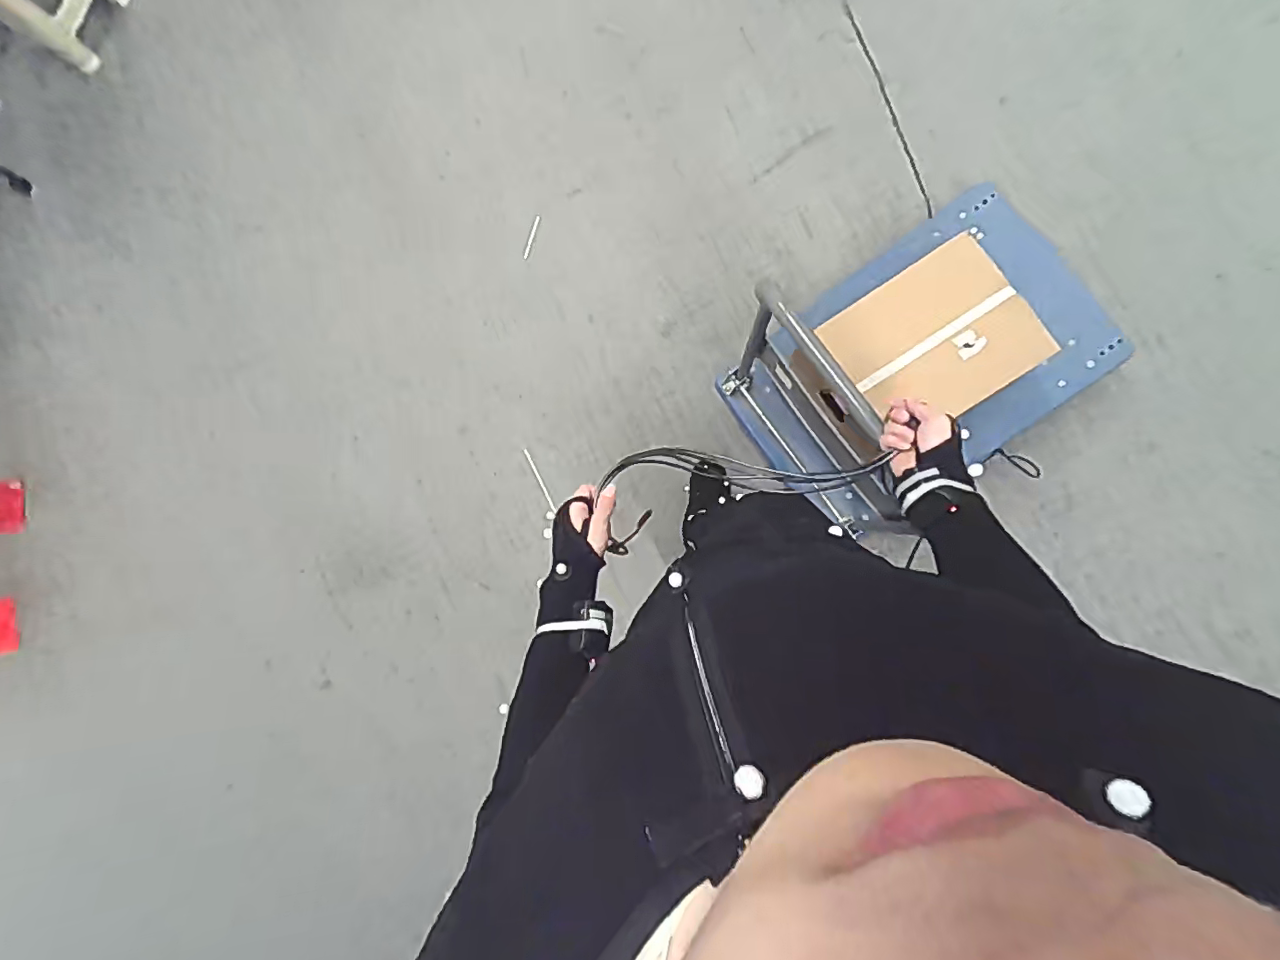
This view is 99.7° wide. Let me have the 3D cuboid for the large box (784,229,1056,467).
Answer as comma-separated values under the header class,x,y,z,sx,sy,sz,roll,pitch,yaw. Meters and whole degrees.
class,x,y,z,sx,sy,sz,roll,pitch,yaw
large box,0.602,-0.272,1.250,0.408,0.320,0.320,-33,84,5
